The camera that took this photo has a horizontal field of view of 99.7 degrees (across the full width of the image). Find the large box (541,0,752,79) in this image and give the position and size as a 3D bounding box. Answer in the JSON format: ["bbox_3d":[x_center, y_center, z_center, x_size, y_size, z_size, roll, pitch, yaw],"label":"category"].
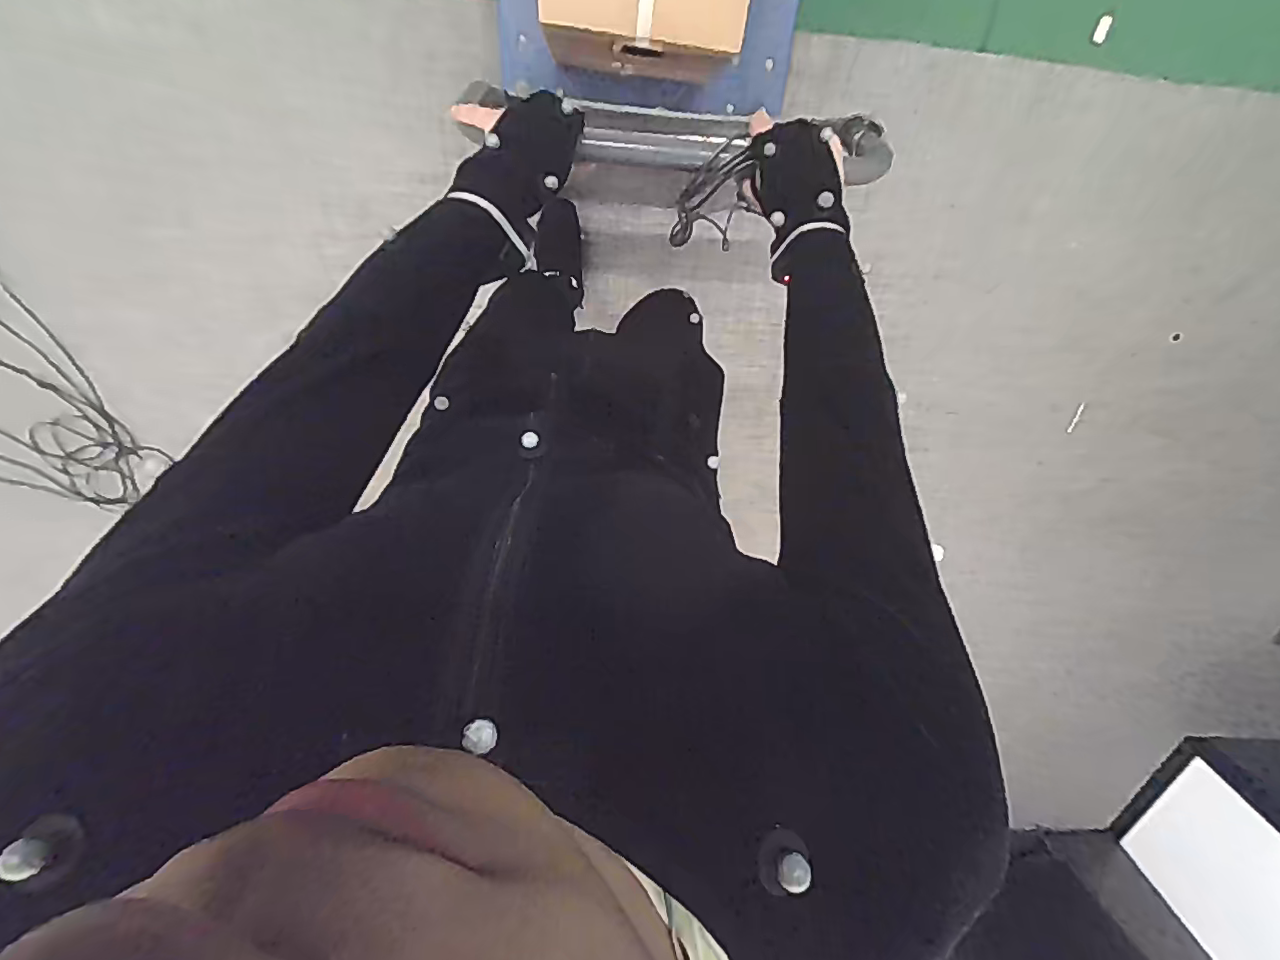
[{"bbox_3d":[0.019,-0.912,0.846,0.320,0.320,0.408,4,118,-7],"label":"large box"}]
